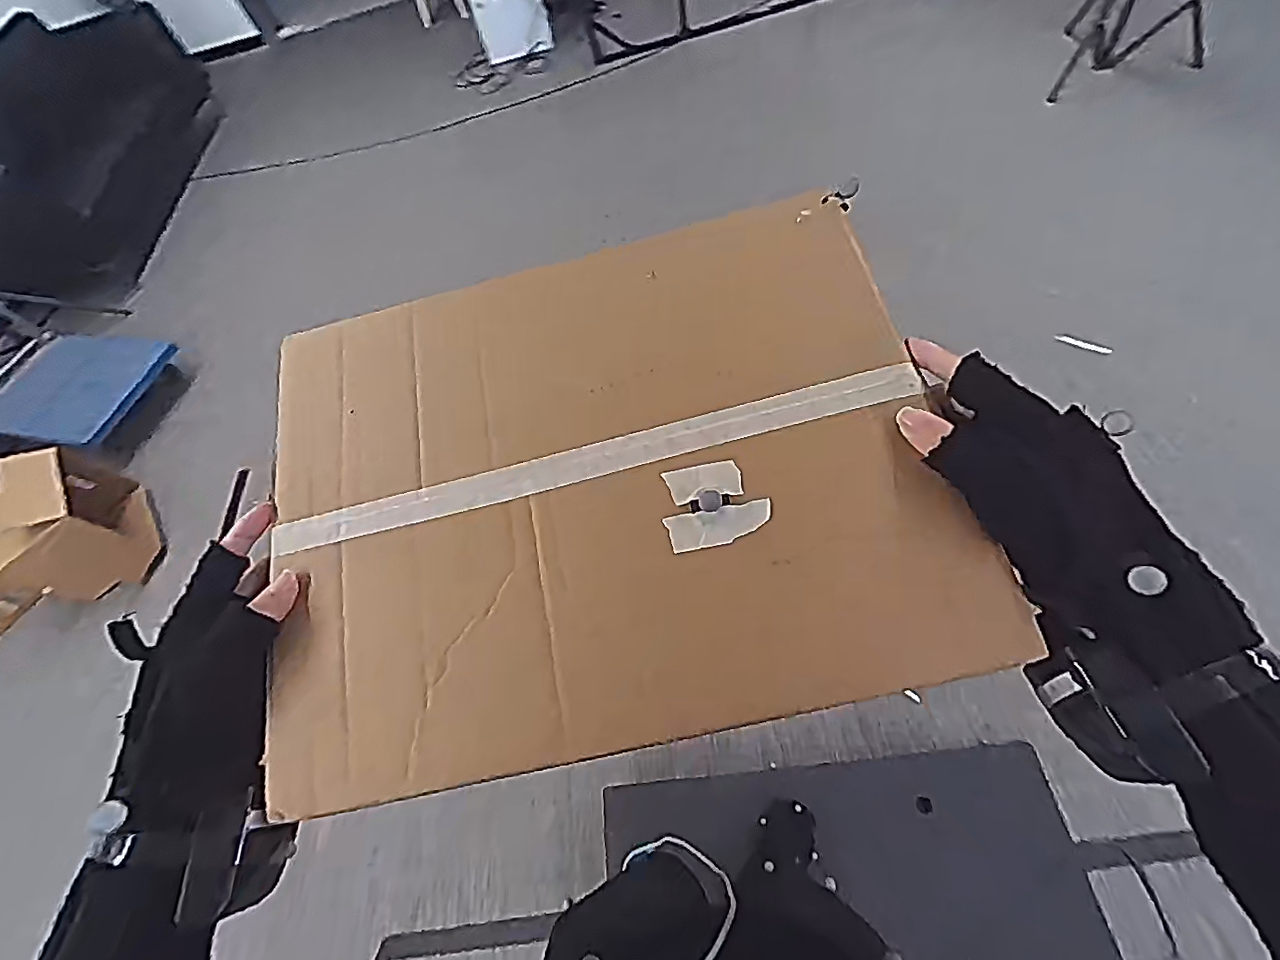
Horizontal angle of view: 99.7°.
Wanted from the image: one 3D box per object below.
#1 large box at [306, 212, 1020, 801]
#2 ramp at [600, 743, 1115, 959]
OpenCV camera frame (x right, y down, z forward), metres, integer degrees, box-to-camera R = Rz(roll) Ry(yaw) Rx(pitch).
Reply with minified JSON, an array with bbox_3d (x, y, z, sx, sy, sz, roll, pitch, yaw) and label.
[{"bbox_3d":[-0.004,0.044,0.481,0.408,0.320,0.320,-13,70,3],"label":"large box"},{"bbox_3d":[0.426,0.864,1.125,0.991,0.206,0.509,-12,57,5],"label":"ramp"}]
